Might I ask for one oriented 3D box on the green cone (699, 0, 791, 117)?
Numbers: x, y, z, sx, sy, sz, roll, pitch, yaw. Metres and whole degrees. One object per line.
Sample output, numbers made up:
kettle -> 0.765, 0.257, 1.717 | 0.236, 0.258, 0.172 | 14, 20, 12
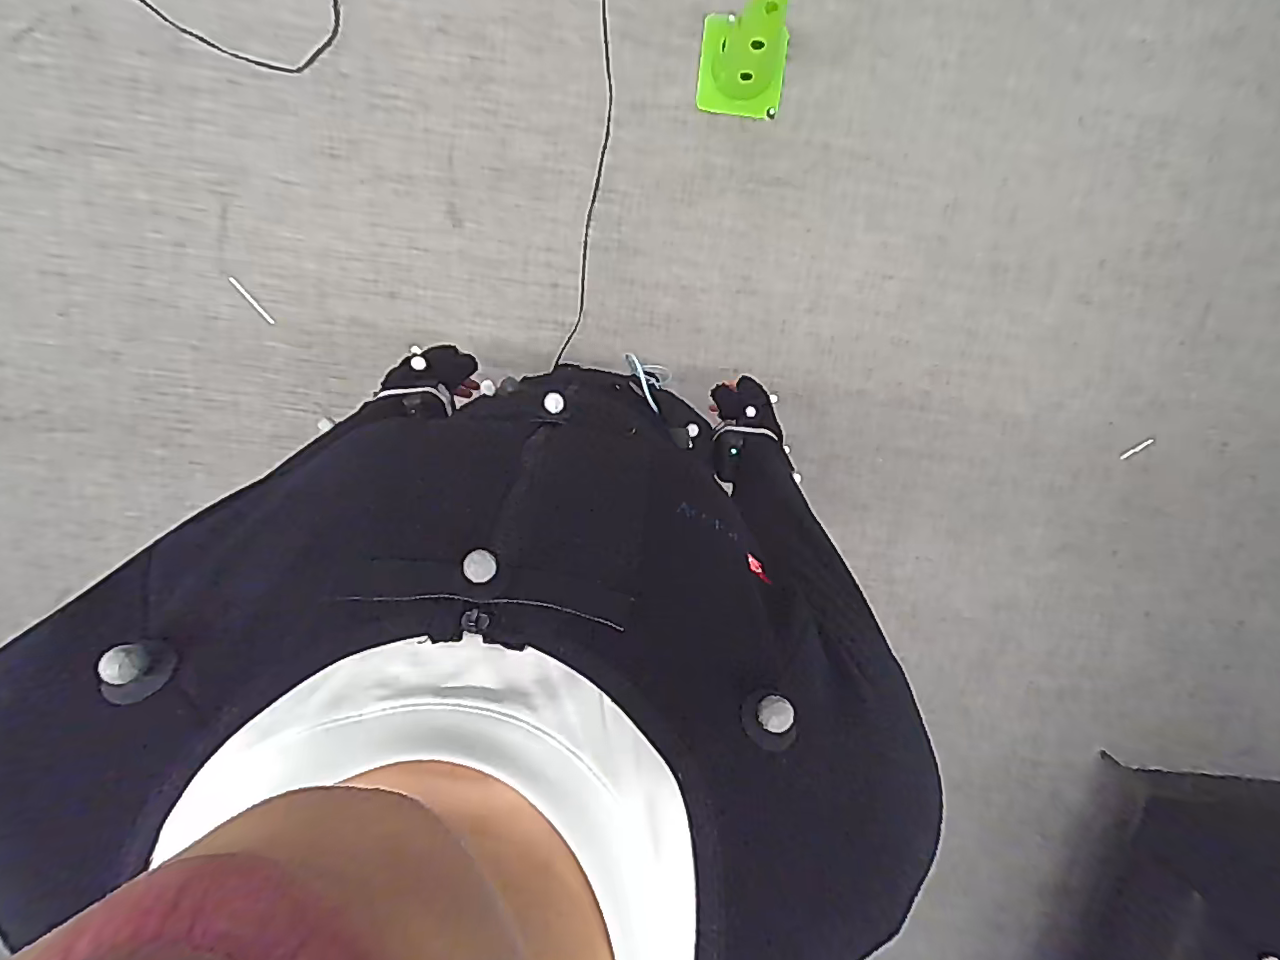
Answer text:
green cone -> 0.247, -0.938, 1.104 | 0.202, 0.368, 0.200 | 6, 102, -2
